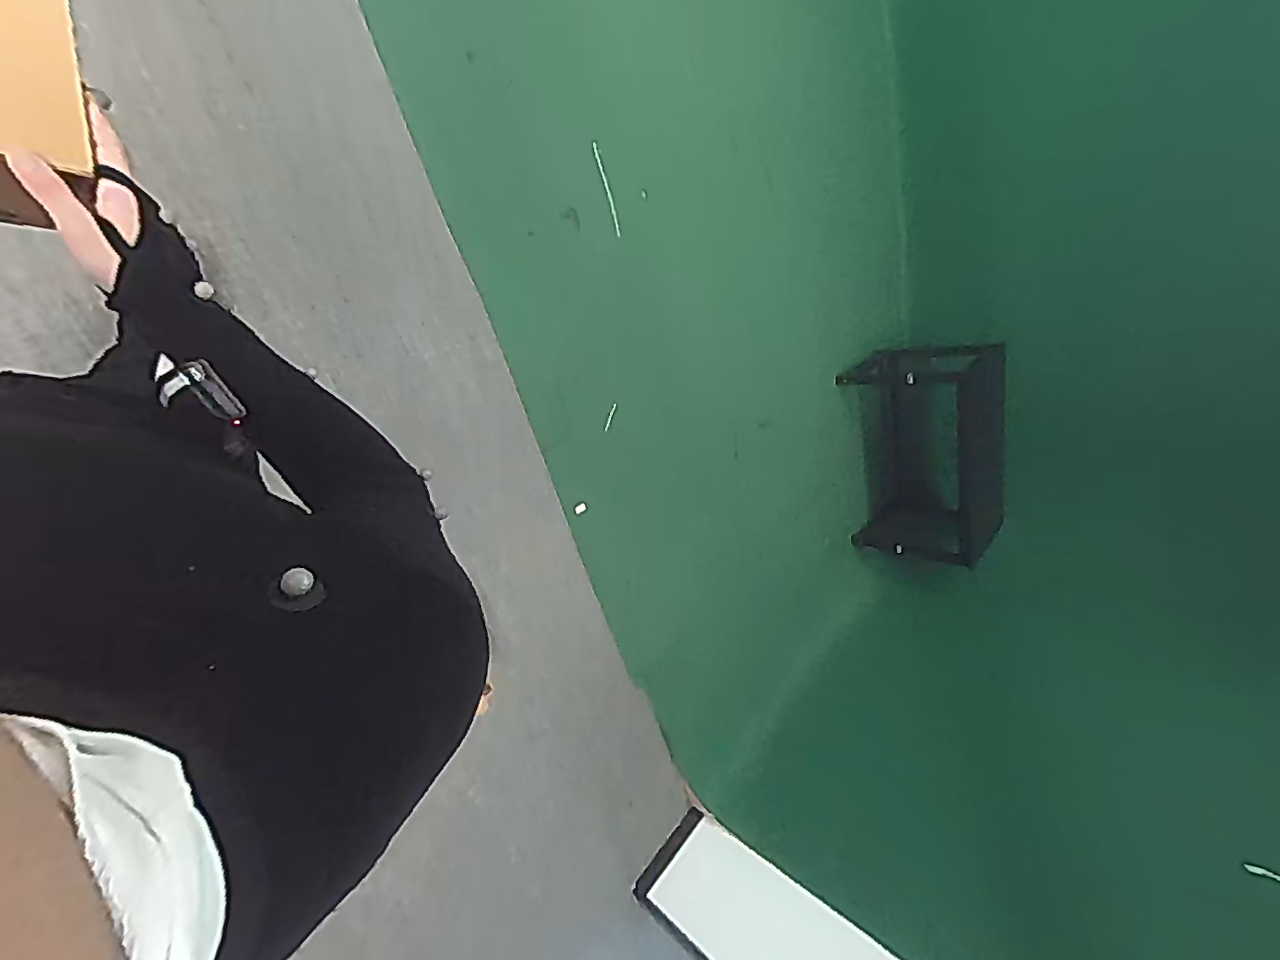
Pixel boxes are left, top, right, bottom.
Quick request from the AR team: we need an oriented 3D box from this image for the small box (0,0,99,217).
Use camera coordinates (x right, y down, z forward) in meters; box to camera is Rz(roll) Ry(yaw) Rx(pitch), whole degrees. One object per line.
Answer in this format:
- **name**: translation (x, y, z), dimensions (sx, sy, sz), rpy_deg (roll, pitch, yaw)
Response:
- **small box**: translation (-0.552, -0.333, 0.420), dimensions (0.168, 0.176, 0.179), rpy_deg (-10, 102, -45)
